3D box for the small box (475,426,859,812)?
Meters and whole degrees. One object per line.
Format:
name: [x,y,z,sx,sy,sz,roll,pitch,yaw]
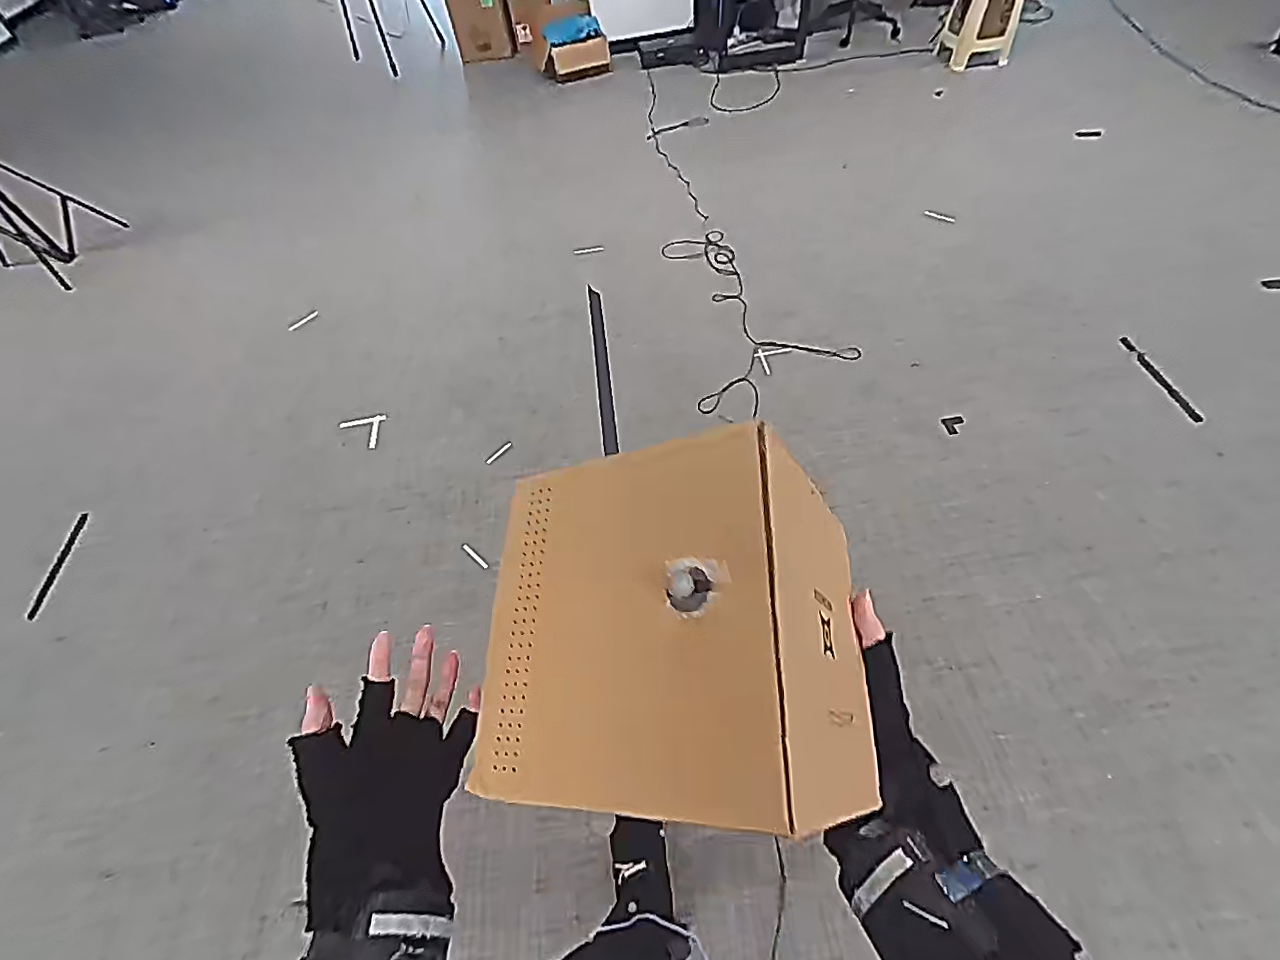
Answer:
small box: [0.022,0.096,0.338,0.176,0.168,0.179,-14,60,29]
